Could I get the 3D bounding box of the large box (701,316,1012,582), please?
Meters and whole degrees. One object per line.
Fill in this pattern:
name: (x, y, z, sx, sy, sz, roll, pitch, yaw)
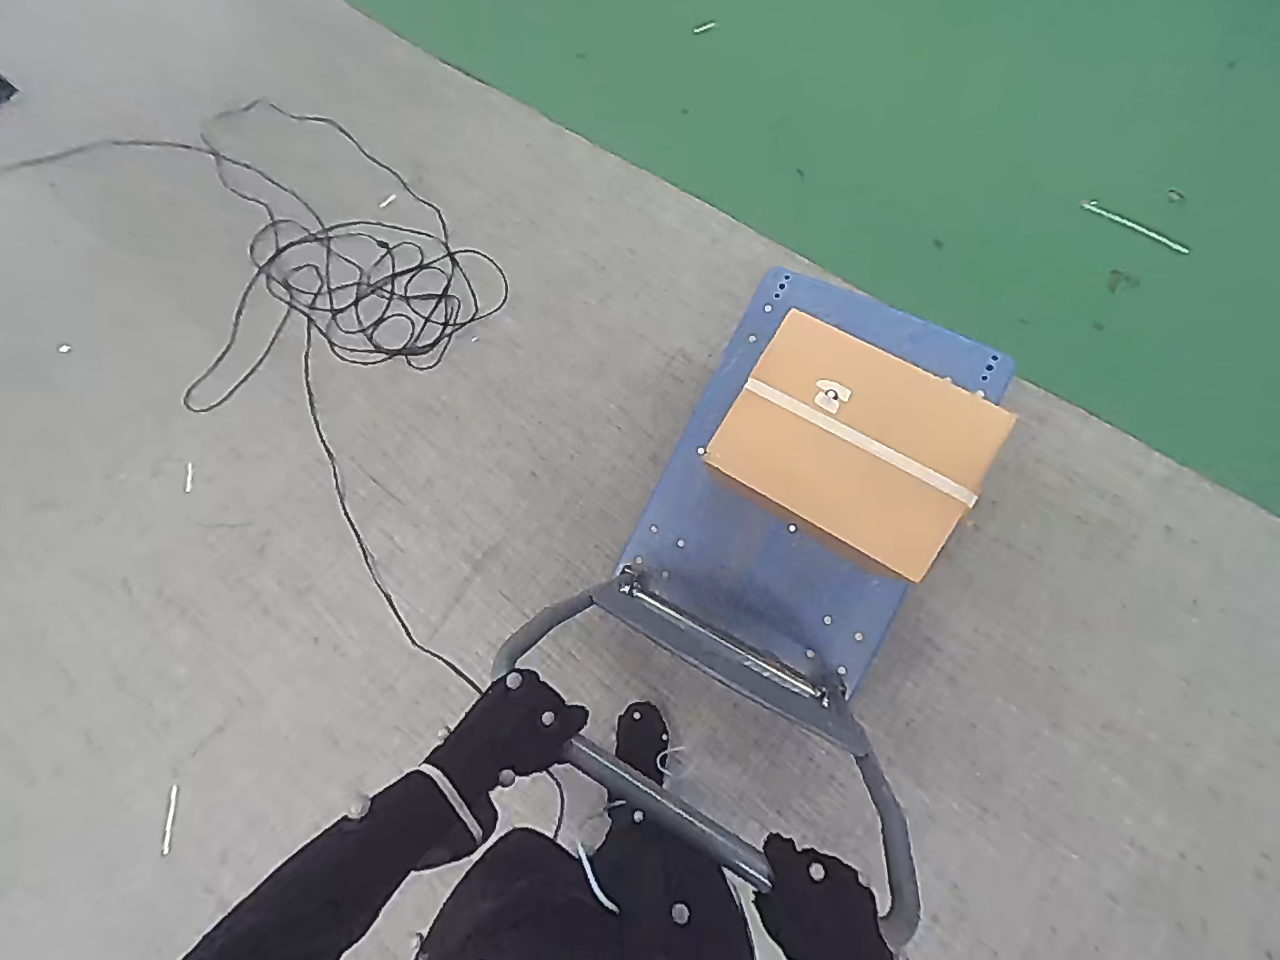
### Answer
large box: (0.381, -0.046, 1.046, 0.408, 0.320, 0.320, 32, 90, 14)
